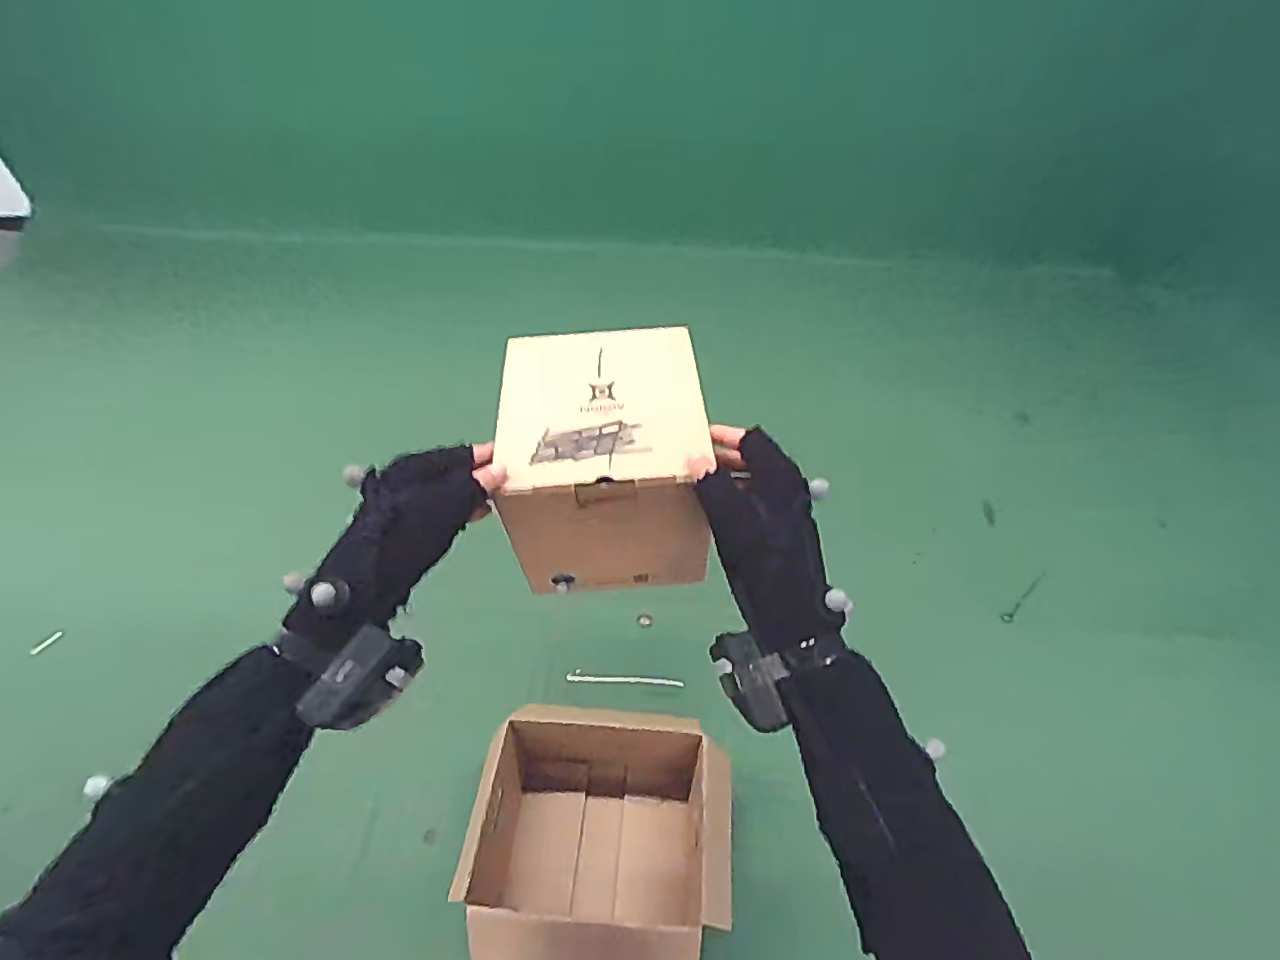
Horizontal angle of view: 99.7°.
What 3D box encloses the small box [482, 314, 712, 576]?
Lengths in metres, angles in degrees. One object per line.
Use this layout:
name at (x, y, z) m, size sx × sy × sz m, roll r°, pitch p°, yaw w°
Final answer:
small box at (-0.031, -0.024, 0.487) m, size 0.168 × 0.176 × 0.179 m, roll -4°, pitch 51°, yaw -1°
